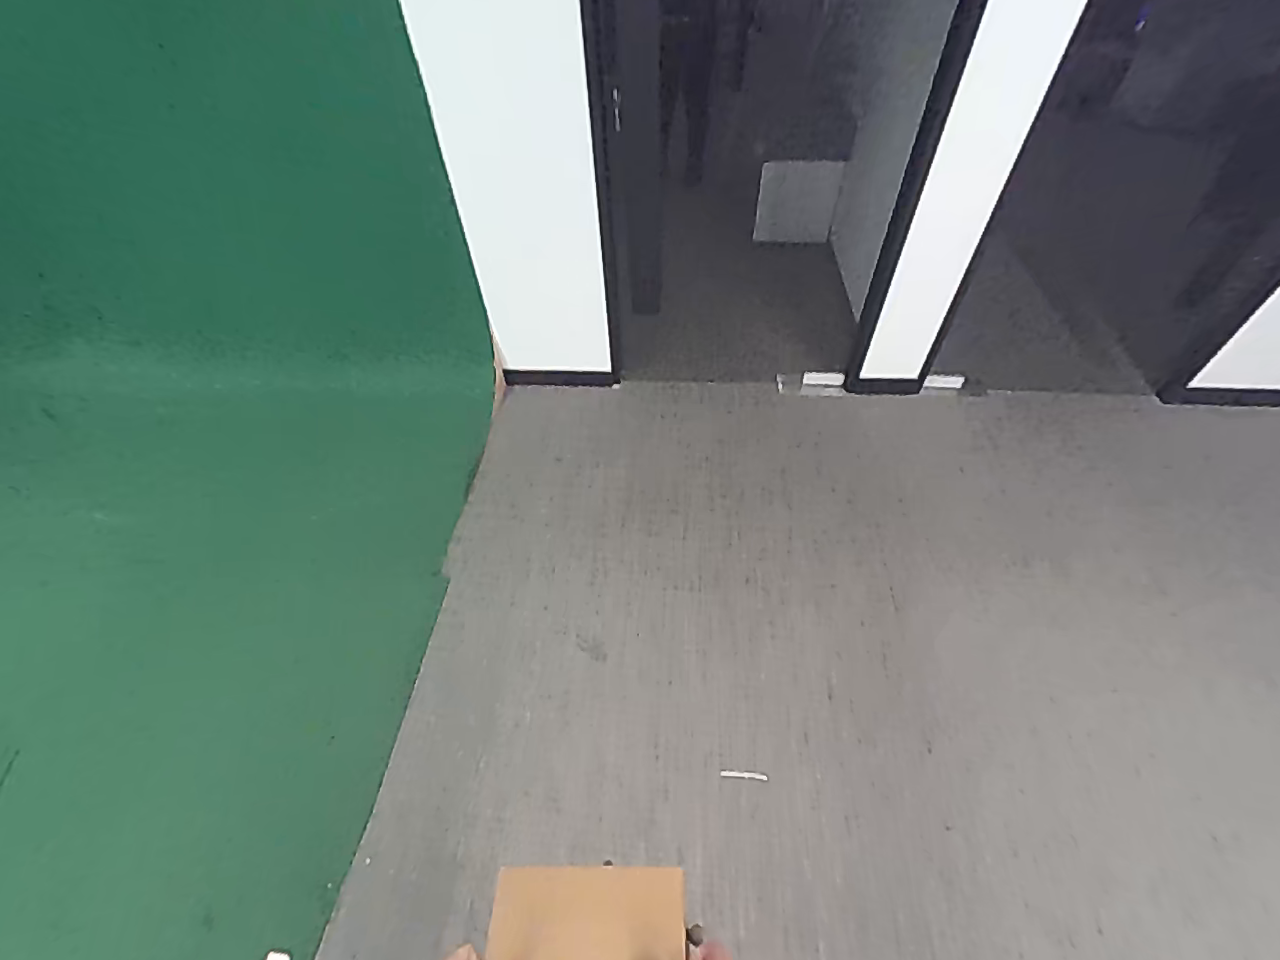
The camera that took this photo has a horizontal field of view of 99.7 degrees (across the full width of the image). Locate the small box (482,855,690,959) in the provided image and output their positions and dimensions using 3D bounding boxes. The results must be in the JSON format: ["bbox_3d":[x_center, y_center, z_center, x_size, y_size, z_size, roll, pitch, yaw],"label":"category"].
[{"bbox_3d":[-0.040,0.447,0.468,0.168,0.176,0.179,-2,46,4],"label":"small box"}]
